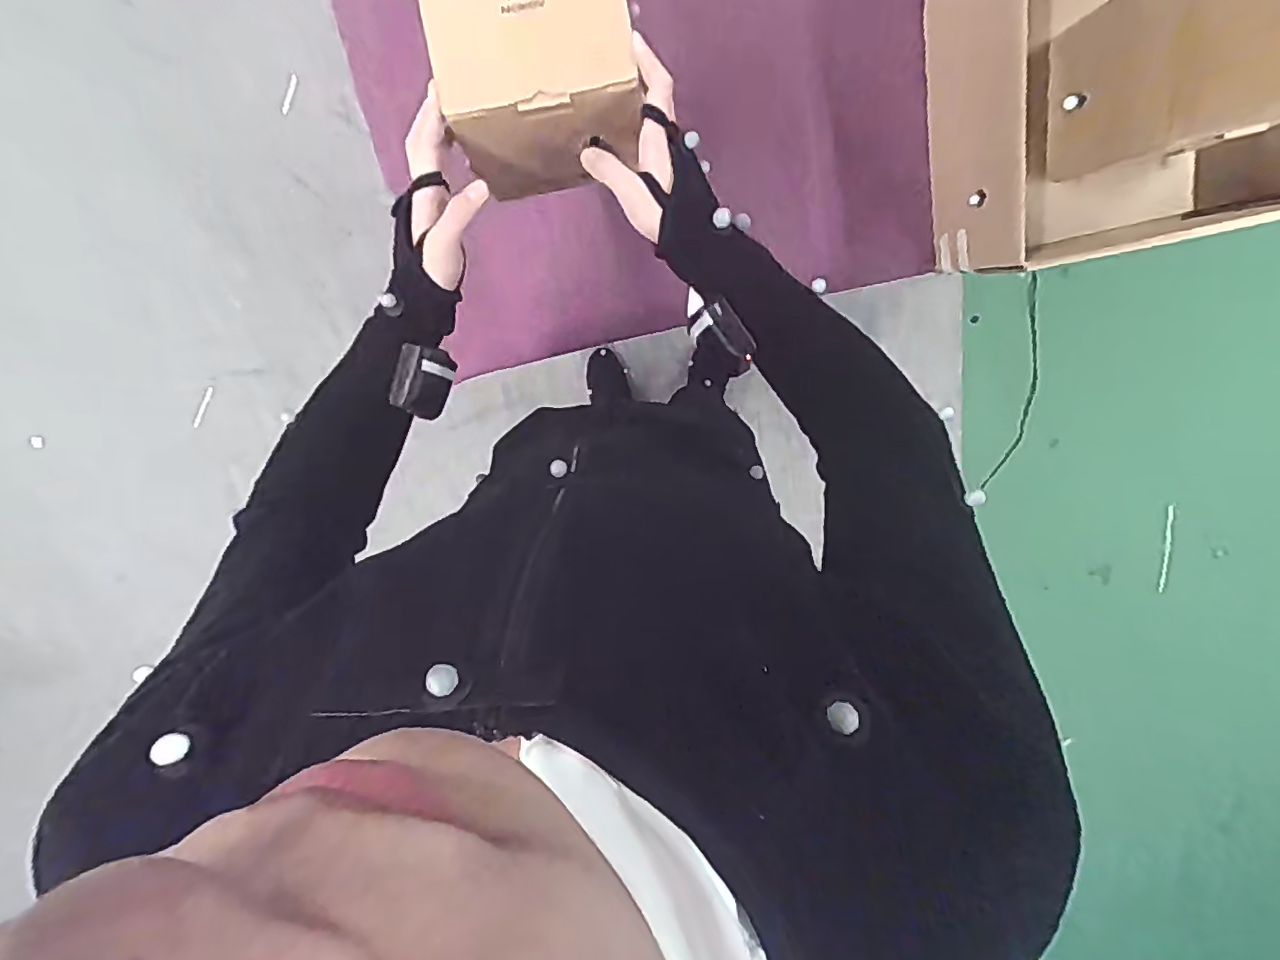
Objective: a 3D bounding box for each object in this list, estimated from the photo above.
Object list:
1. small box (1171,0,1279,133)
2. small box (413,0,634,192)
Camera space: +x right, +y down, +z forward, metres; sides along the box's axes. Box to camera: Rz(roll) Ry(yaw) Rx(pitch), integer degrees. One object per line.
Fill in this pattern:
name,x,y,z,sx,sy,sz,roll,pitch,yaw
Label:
small box,0.622,-0.431,0.471,0.168,0.176,0.179,-11,106,5
small box,-0.098,-0.394,0.506,0.168,0.176,0.179,-11,97,0
